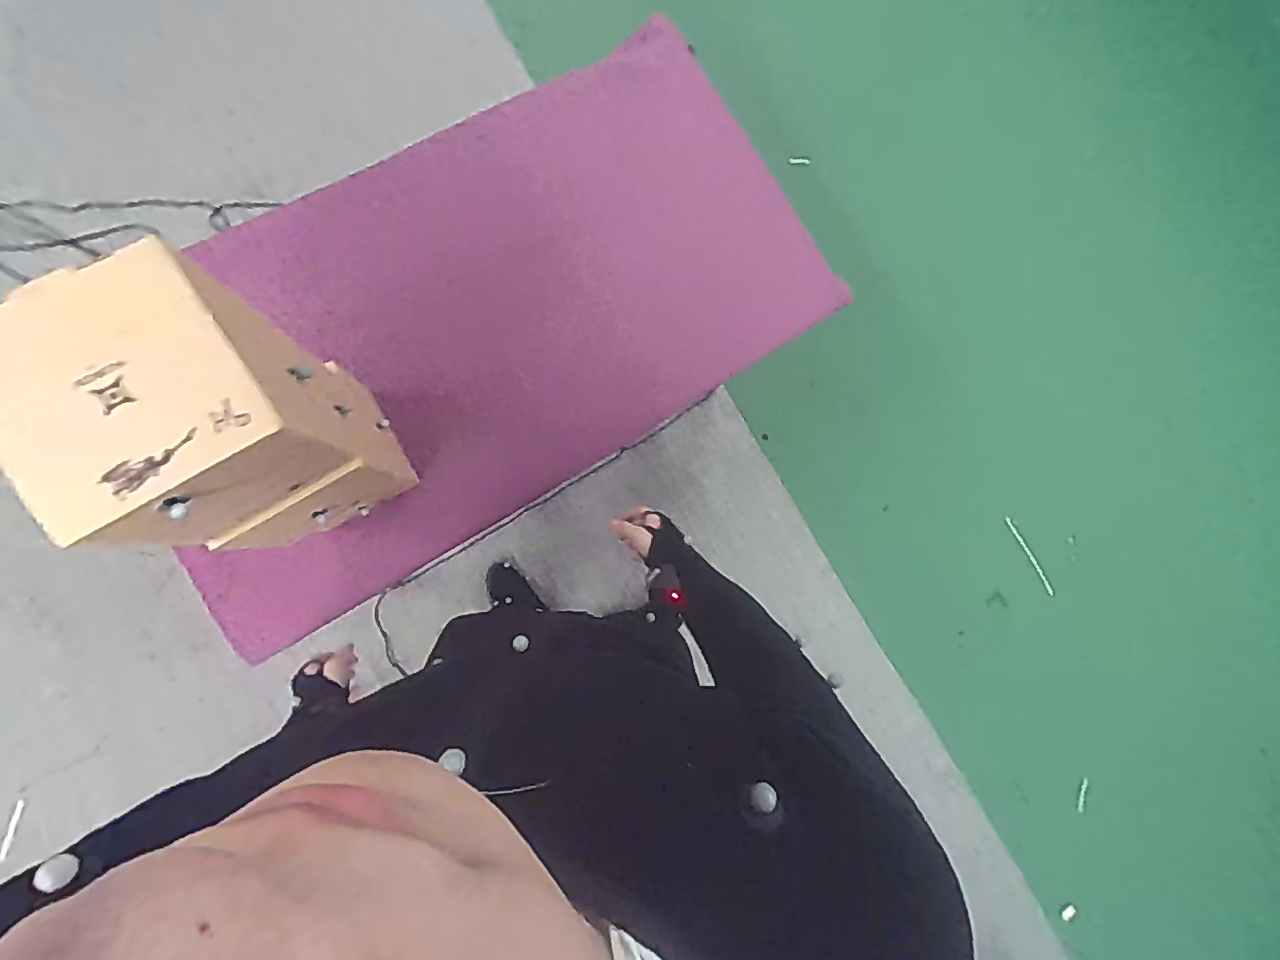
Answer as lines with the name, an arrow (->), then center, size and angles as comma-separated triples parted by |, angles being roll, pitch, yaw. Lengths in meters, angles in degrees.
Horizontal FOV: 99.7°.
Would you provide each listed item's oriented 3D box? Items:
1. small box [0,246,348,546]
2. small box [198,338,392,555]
small box -> -0.398, -0.056, 0.472 | 0.168, 0.176, 0.179 | -34, 90, -11
small box -> -0.423, -0.031, 0.633 | 0.168, 0.176, 0.179 | -33, 91, -12
